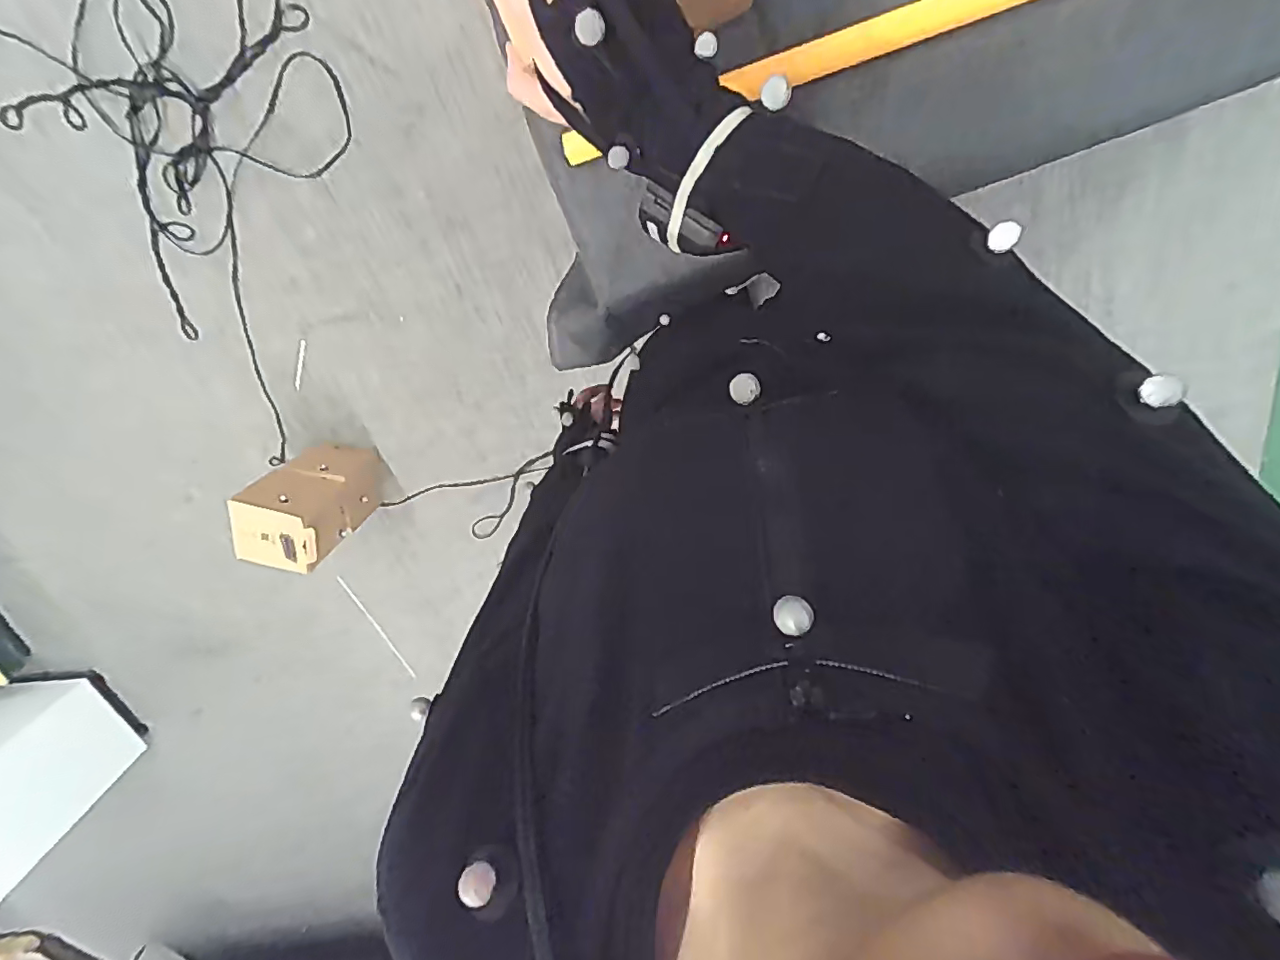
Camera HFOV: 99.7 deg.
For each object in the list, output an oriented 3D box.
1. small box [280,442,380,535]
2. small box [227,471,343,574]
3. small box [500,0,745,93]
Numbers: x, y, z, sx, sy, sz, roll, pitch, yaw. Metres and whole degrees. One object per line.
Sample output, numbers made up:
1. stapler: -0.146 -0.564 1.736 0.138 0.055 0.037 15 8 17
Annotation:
1. small box: -0.817 0.019 1.446 0.168 0.176 0.179 9 118 0
2. small box: -0.840 0.097 1.302 0.179 0.176 0.168 14 117 -2
3. small box: -0.024 -0.388 0.343 0.168 0.176 0.179 -20 115 15
